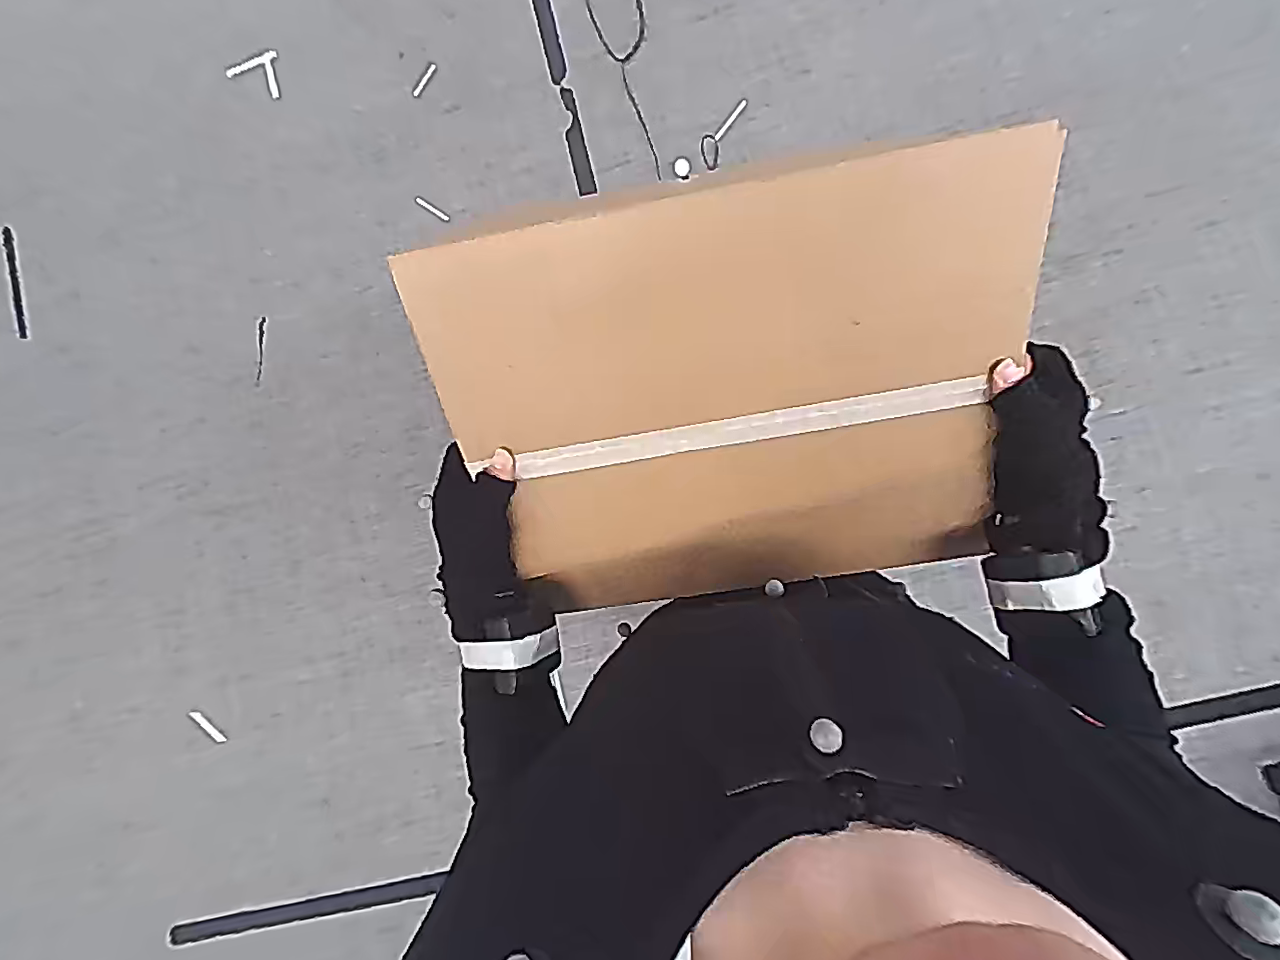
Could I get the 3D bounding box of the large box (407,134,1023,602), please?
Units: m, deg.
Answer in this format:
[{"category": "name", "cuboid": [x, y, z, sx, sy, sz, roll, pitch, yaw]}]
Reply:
[{"category": "large box", "cuboid": [0.065, -0.122, 0.543, 0.408, 0.320, 0.320, -9, 120, 5]}]
